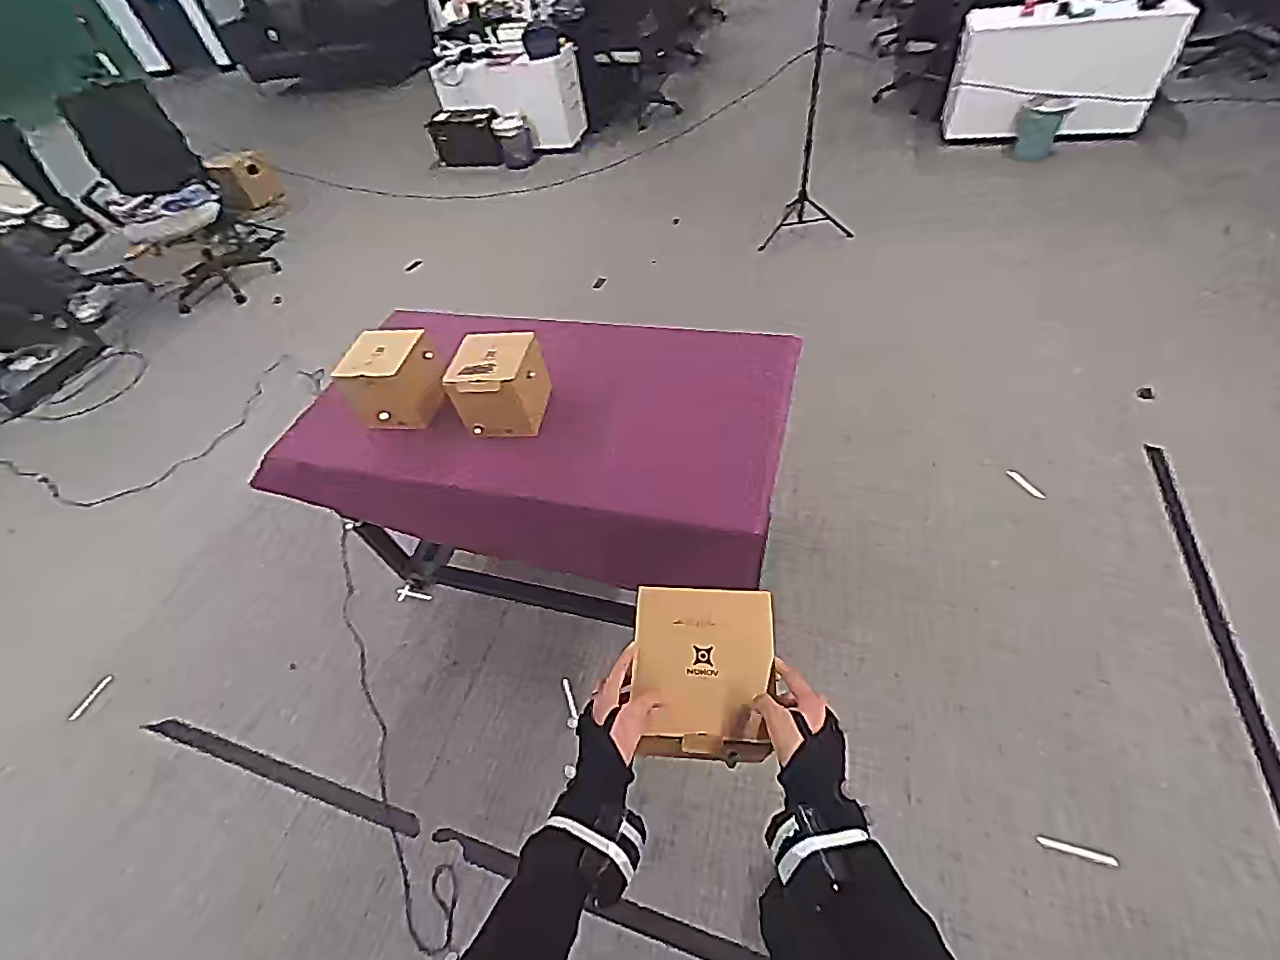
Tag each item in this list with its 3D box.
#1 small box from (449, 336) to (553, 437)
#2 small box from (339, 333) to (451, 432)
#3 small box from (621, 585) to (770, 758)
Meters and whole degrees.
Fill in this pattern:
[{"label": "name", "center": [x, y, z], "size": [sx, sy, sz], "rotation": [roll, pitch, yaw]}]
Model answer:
[{"label": "small box", "center": [-0.312, -0.214, 1.262], "size": [0.168, 0.176, 0.179], "rotation": [1, 50, 10]}, {"label": "small box", "center": [-0.586, -0.241, 1.328], "size": [0.168, 0.176, 0.179], "rotation": [2, 52, 11]}, {"label": "small box", "center": [0.073, 0.252, 0.699], "size": [0.168, 0.176, 0.179], "rotation": [2, 57, 5]}]
